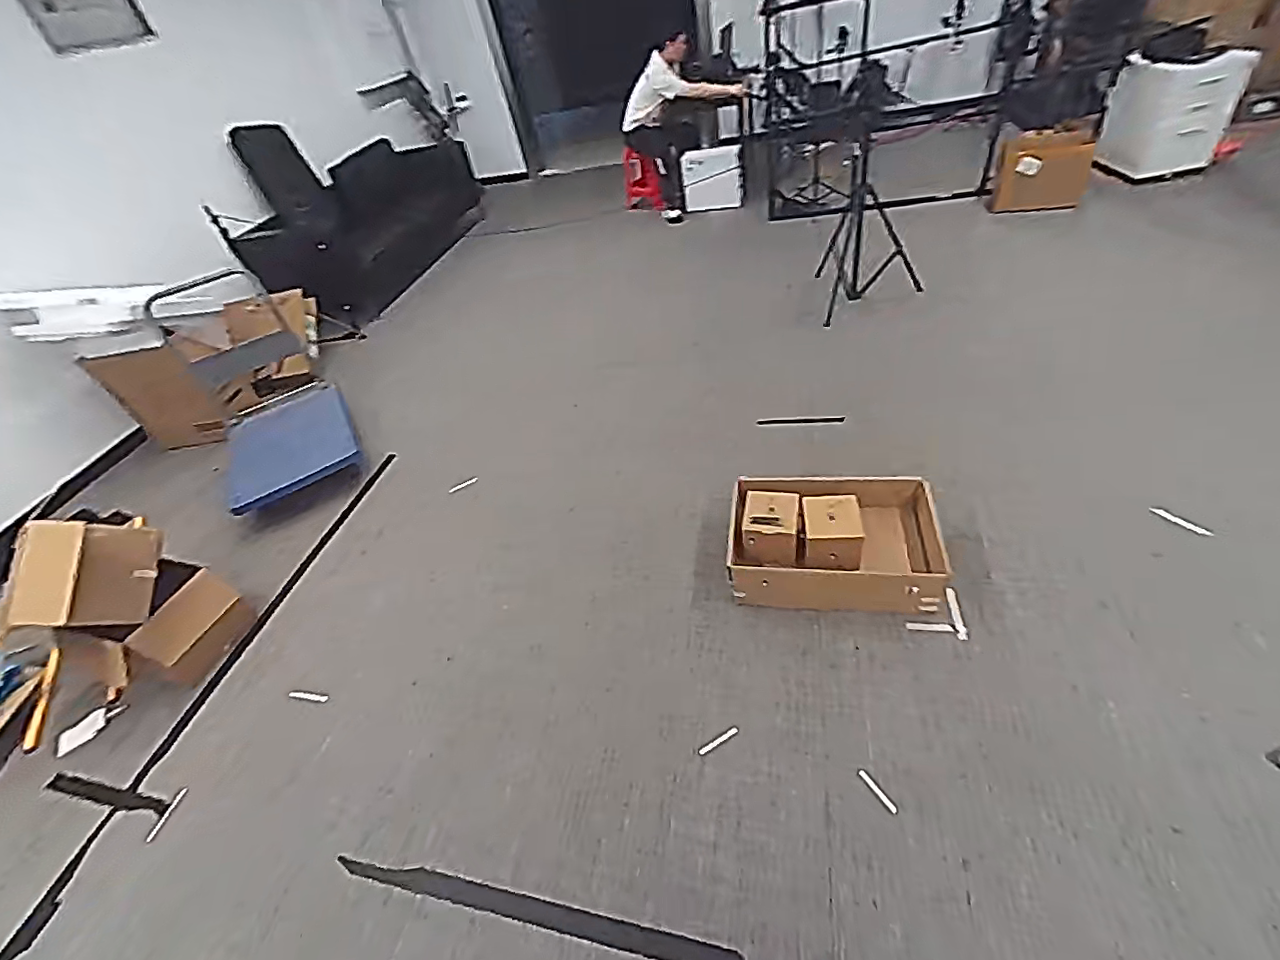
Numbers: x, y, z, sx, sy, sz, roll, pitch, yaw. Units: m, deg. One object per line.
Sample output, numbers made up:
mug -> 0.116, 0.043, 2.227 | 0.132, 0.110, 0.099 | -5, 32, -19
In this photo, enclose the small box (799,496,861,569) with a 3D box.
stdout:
small box -> 0.604, 0.172, 1.732 | 0.168, 0.176, 0.179 | -3, 44, 12
